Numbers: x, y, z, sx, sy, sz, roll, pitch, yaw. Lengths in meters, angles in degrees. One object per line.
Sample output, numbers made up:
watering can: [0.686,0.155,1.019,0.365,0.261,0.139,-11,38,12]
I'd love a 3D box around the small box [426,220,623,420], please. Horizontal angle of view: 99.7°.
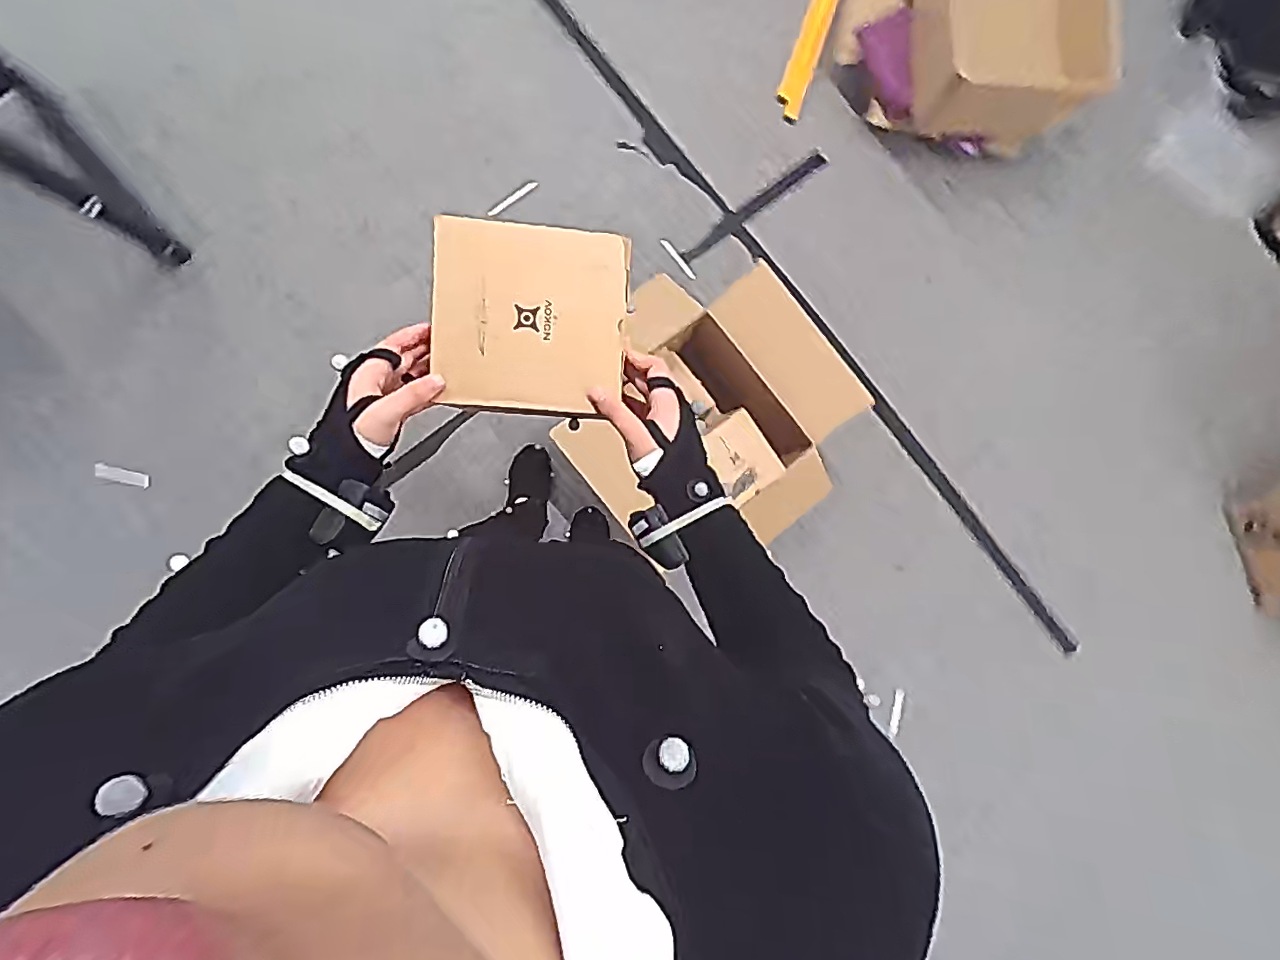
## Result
small box: [-0.114,-0.151,0.570,0.179,0.176,0.168,1,93,-6]
